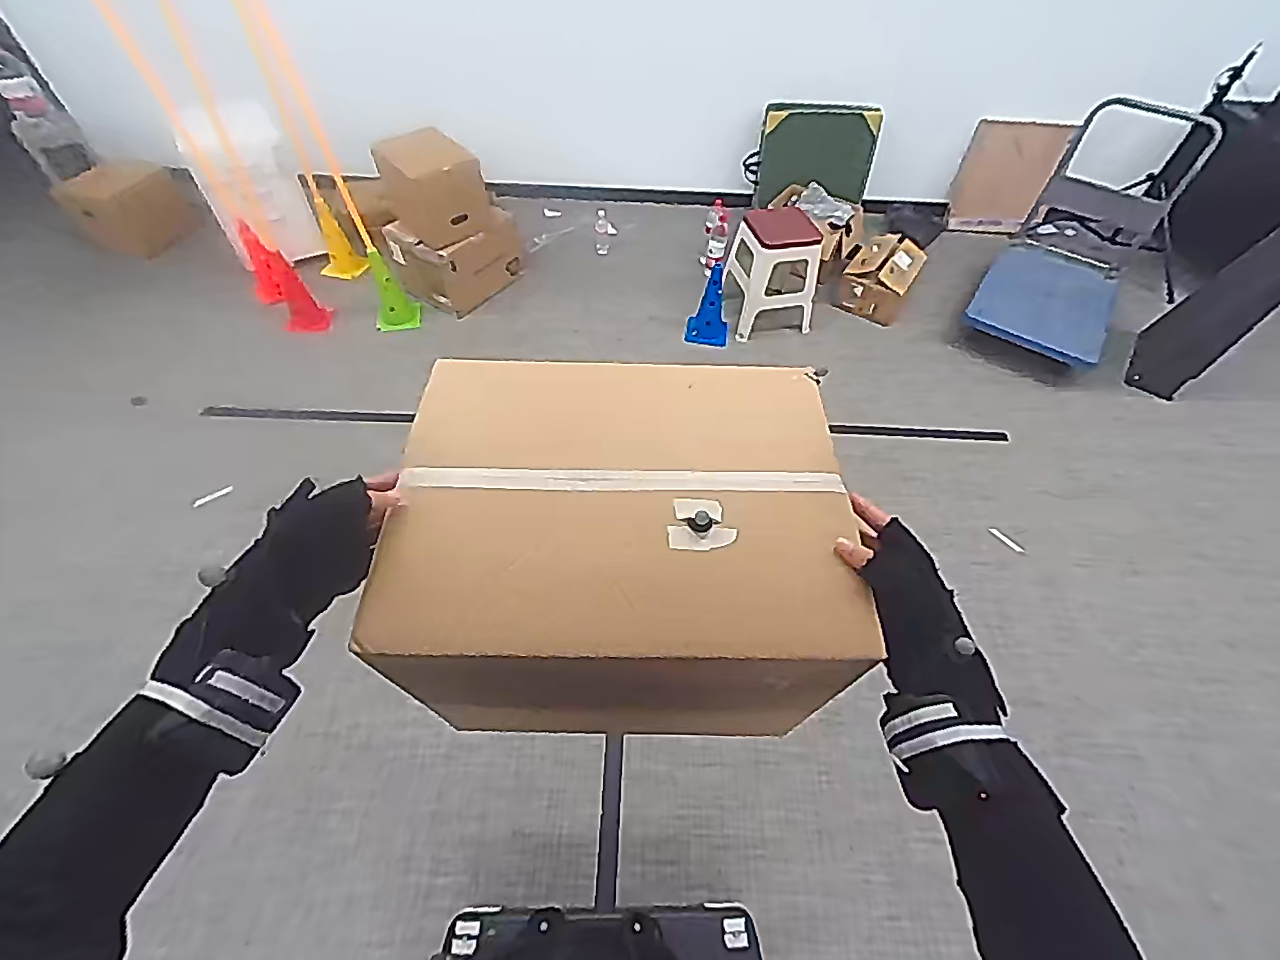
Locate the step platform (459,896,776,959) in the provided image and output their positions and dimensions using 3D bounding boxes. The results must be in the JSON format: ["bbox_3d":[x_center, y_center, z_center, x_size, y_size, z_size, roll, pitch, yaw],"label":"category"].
[{"bbox_3d":[-0.047,1.073,1.152,0.684,0.204,0.286,1,53,-3],"label":"step platform"}]

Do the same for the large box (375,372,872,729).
[{"bbox_3d":[-0.017,0.094,0.631,0.408,0.320,0.320,2,56,-1],"label":"large box"}]
